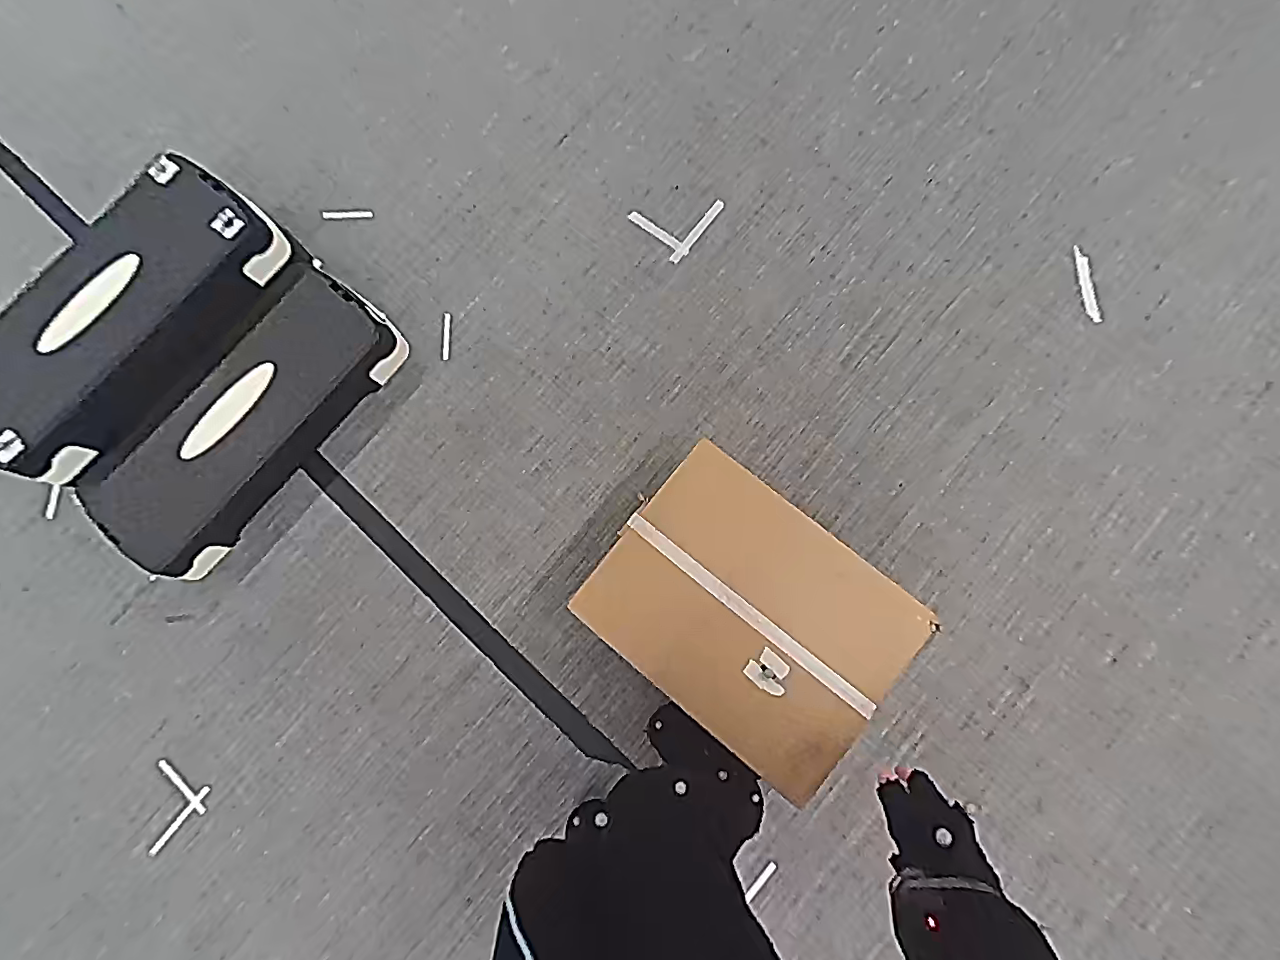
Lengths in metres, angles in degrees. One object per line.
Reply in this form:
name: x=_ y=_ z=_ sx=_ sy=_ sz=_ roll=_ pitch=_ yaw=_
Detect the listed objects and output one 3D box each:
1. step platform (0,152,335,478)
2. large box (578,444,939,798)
step platform: x=-1.004 y=-0.339 z=1.136 sx=0.286 sy=0.204 sz=0.684 roll=39 pitch=84 yaw=10
large box: x=0.165 y=0.204 z=0.890 sx=0.408 sy=0.320 sz=0.320 roll=38 pitch=86 yaw=9
